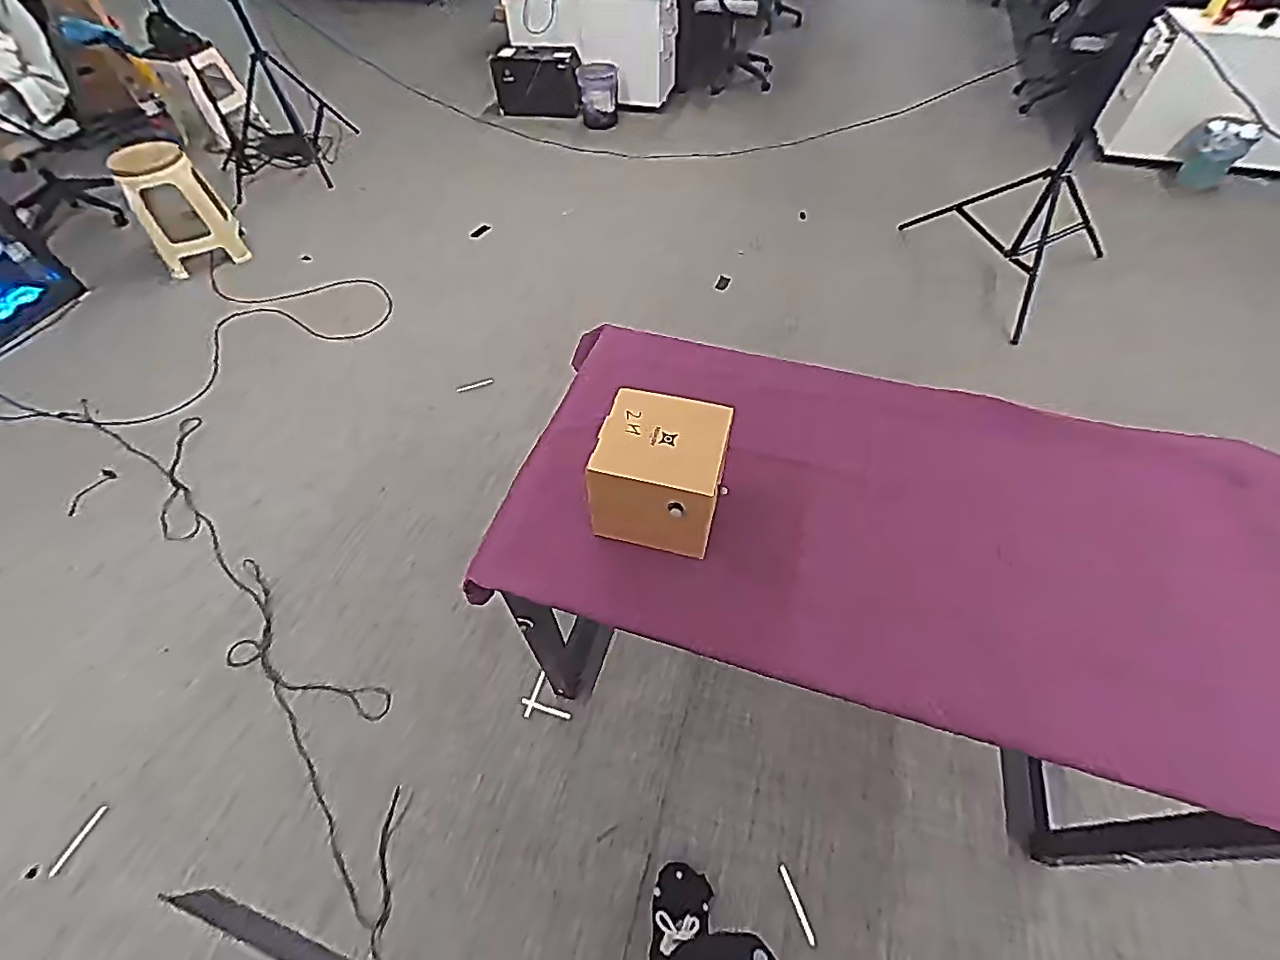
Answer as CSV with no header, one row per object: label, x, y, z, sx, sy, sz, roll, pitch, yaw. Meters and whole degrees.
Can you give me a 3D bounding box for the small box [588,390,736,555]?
small box,0.035,-0.007,0.815,0.179,0.176,0.168,12,53,10
